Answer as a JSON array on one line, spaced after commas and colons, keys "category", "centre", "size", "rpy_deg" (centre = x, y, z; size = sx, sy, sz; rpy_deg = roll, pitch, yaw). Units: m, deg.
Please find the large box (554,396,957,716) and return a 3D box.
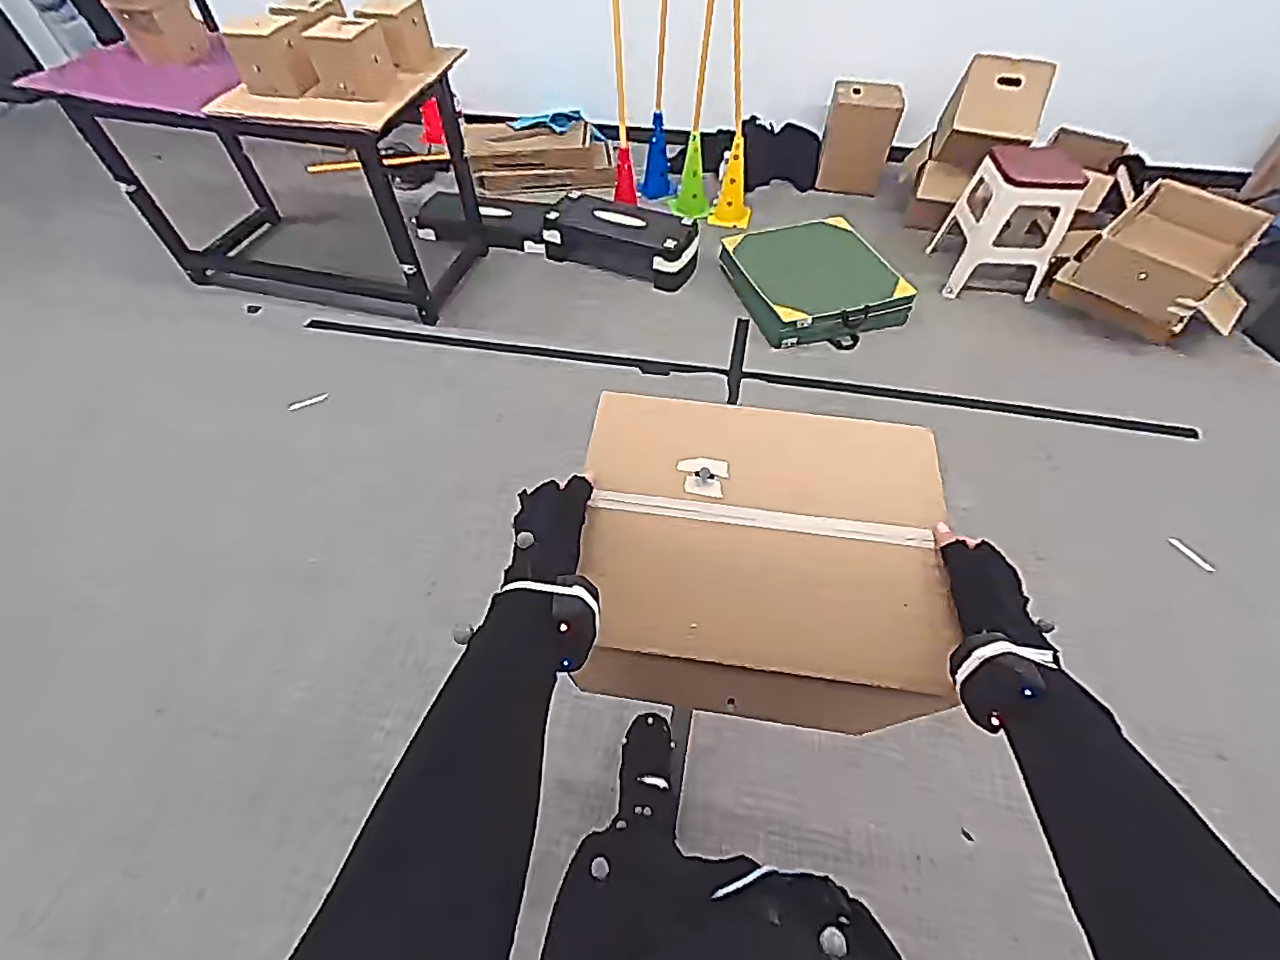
[{"category": "large box", "centre": [0.134, 0.116, 0.733], "size": [0.408, 0.320, 0.320], "rpy_deg": [7, 59, 6]}]
